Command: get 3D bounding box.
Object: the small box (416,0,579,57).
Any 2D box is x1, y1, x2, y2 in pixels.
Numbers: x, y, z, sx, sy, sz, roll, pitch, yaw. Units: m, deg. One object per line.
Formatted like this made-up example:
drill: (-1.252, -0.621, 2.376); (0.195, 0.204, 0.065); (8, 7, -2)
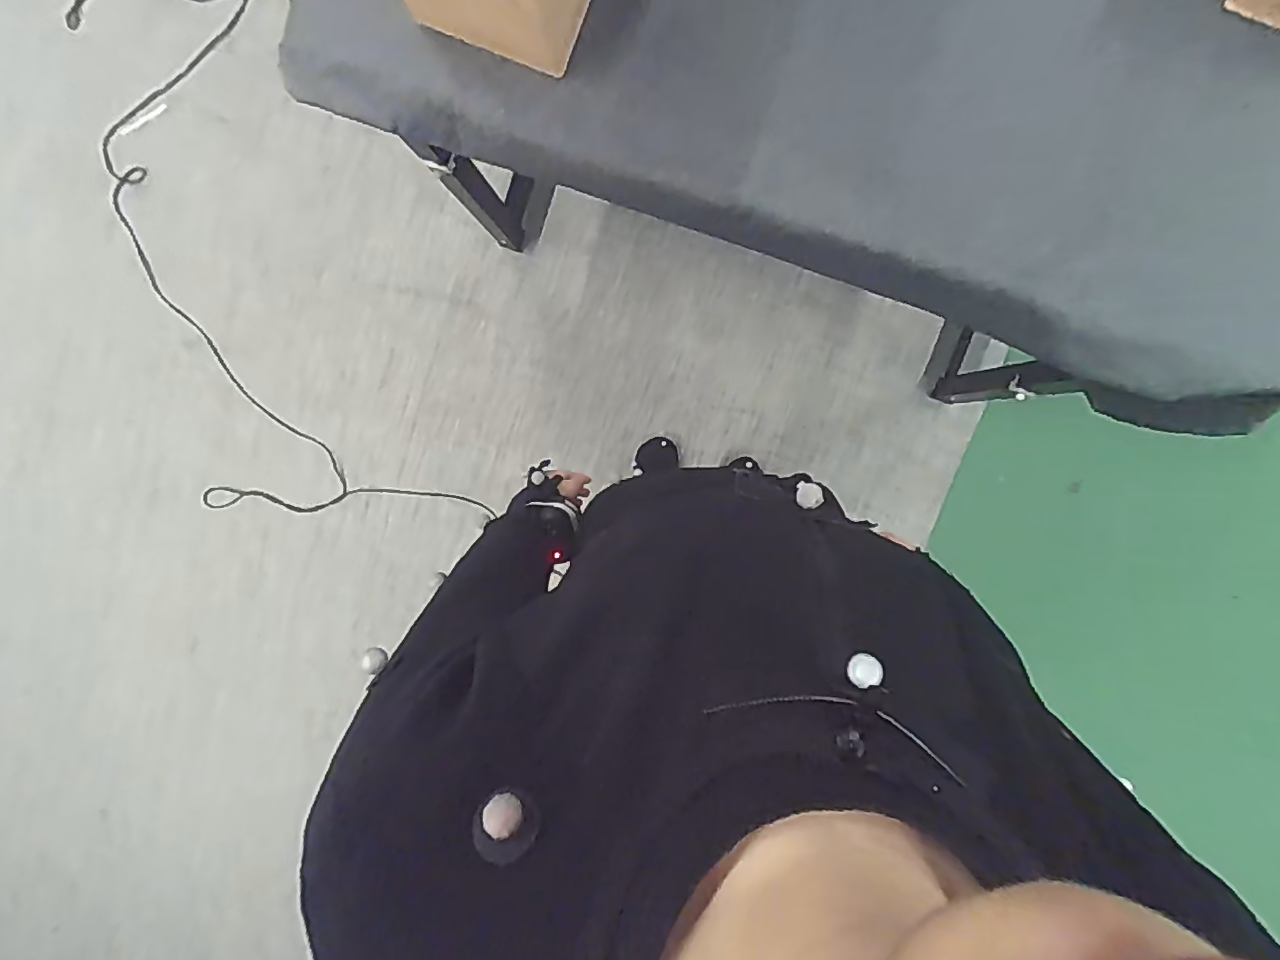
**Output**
small box: (-0.138, -0.552, 0.507); (0.179, 0.176, 0.168); (22, 94, 0)
